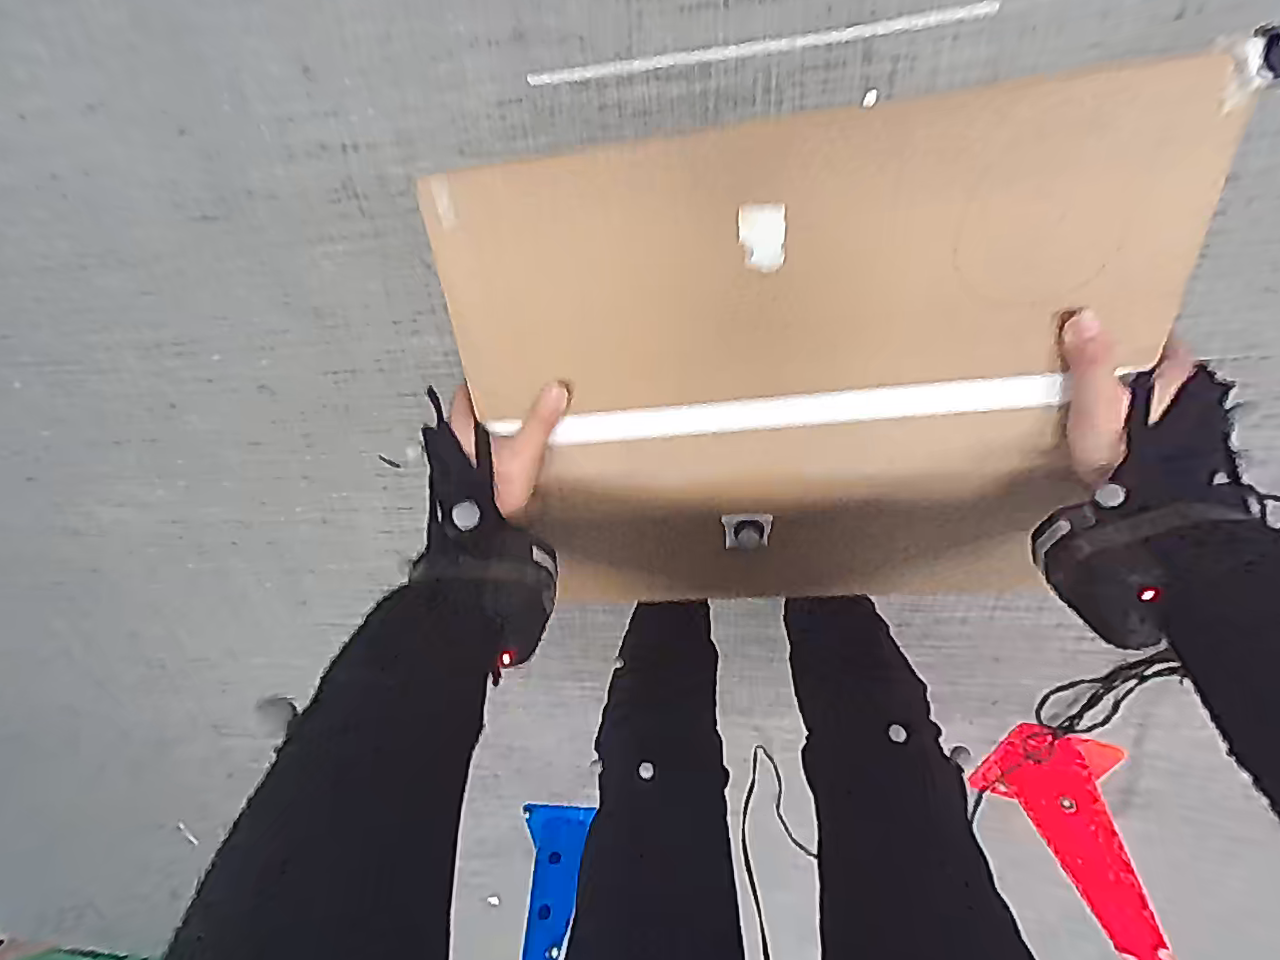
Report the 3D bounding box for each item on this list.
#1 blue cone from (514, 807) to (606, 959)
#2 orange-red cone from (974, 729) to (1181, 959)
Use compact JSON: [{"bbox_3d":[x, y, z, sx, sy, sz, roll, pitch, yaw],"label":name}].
[{"bbox_3d":[-0.203,0.926,1.154,0.192,0.380,0.193,-1,117,10],"label":"blue cone"},{"bbox_3d":[0.720,0.609,0.828,0.199,0.360,0.198,15,120,-1],"label":"orange-red cone"}]
